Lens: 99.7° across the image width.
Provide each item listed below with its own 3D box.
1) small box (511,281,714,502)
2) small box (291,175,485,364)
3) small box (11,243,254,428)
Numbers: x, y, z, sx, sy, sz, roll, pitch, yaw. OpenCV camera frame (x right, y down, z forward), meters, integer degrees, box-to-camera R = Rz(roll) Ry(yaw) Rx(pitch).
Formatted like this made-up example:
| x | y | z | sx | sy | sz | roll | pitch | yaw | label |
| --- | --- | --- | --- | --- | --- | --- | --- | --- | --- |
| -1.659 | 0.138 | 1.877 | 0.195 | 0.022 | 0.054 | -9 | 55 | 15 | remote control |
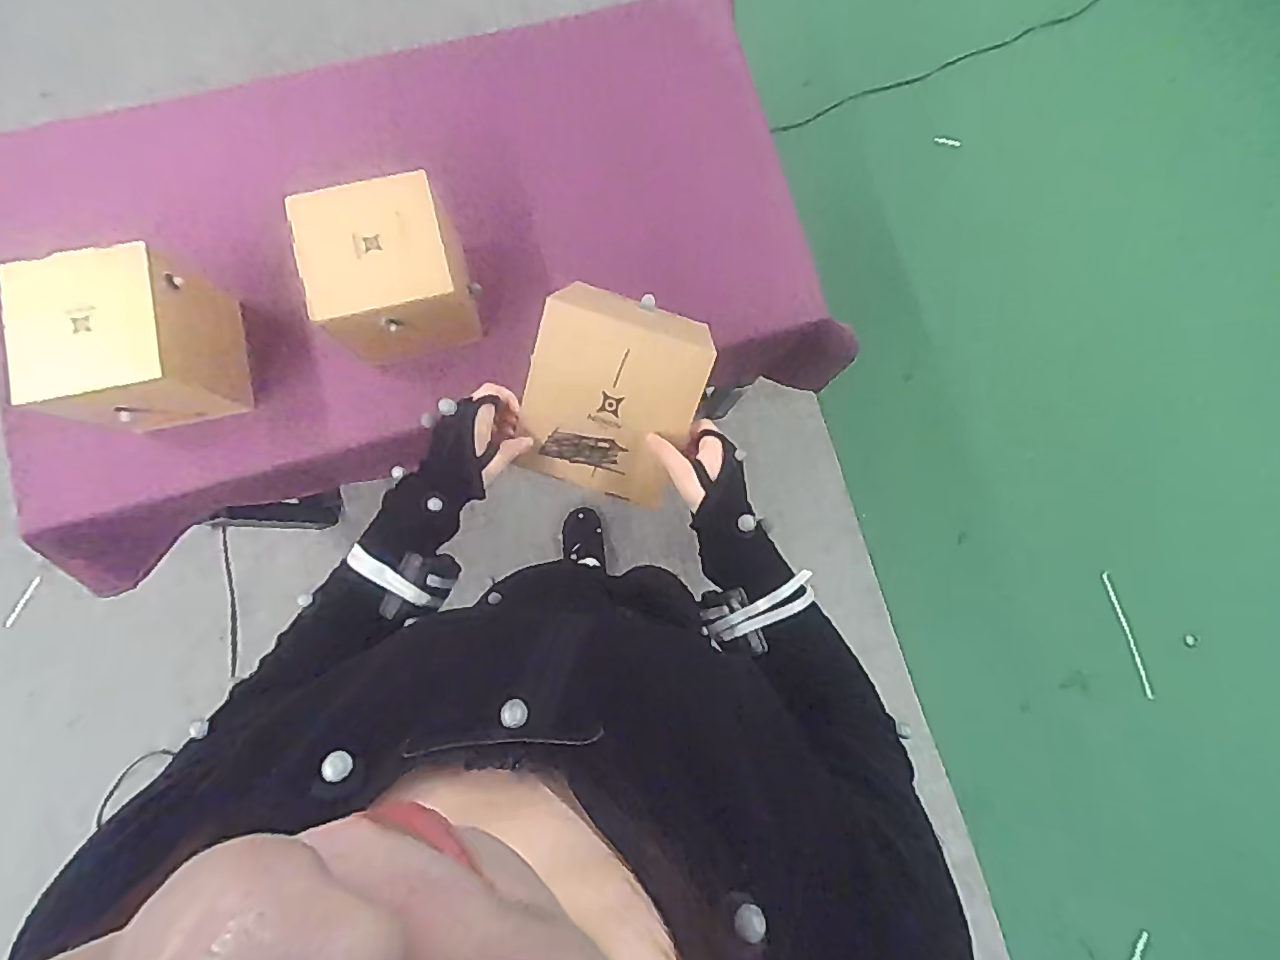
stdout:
| x | y | z | sx | sy | sz | roll | pitch | yaw | label |
| --- | --- | --- | --- | --- | --- | --- | --- | --- | --- |
| -0.026 | -0.107 | 0.601 | 0.168 | 0.176 | 0.179 | 17 | 114 | -4 | small box |
| -0.330 | -0.273 | 0.739 | 0.179 | 0.176 | 0.168 | -13 | 84 | -5 | small box |
| -0.648 | -0.175 | 0.713 | 0.168 | 0.176 | 0.179 | -12 | 83 | -4 | small box |
